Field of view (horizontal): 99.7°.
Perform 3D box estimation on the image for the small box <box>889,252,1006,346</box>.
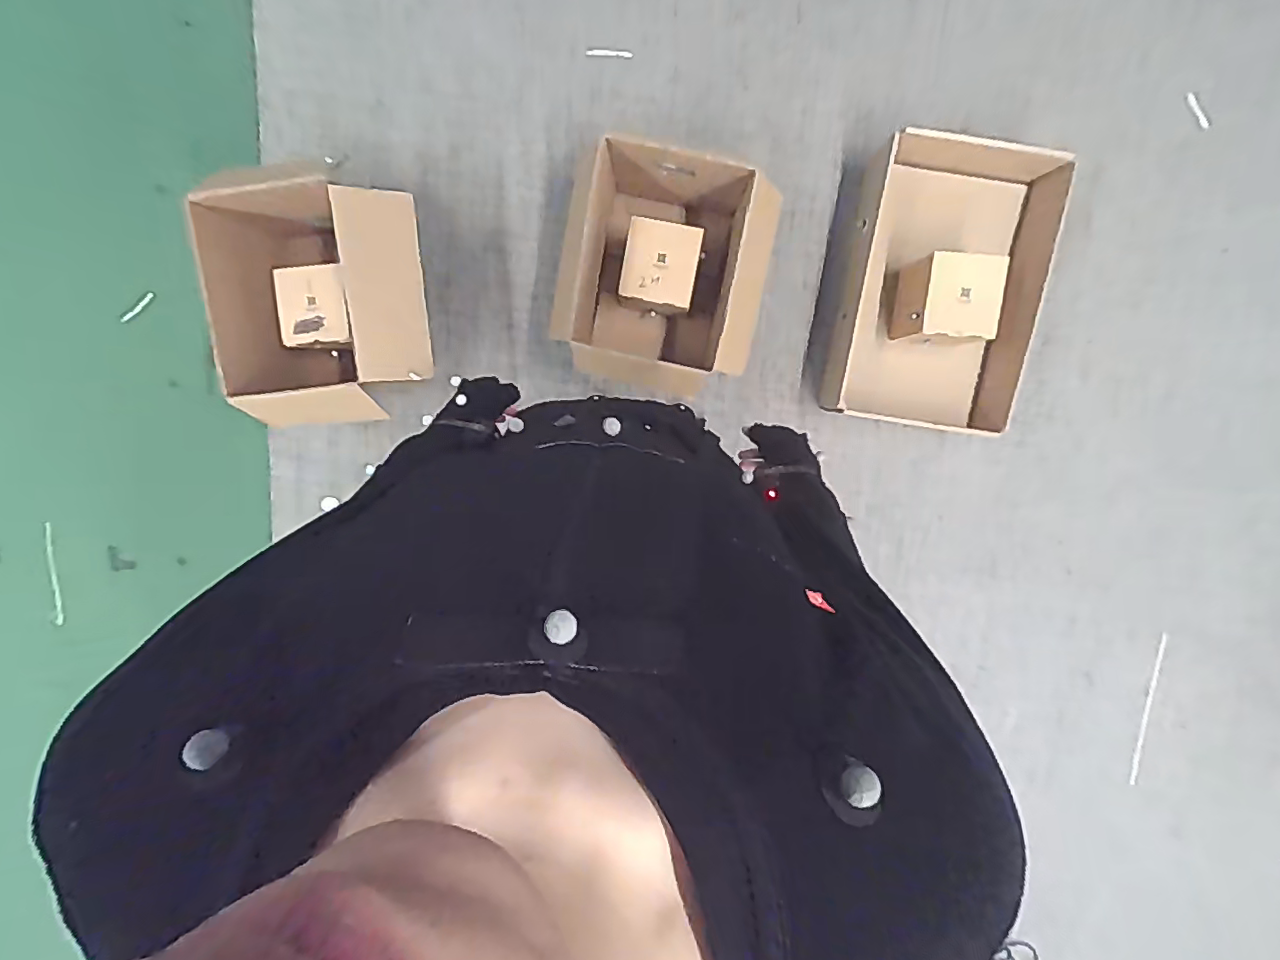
[{"bbox_3d":[0.703,-0.413,1.256,0.168,0.176,0.179,4,99,0],"label":"small box"}]
